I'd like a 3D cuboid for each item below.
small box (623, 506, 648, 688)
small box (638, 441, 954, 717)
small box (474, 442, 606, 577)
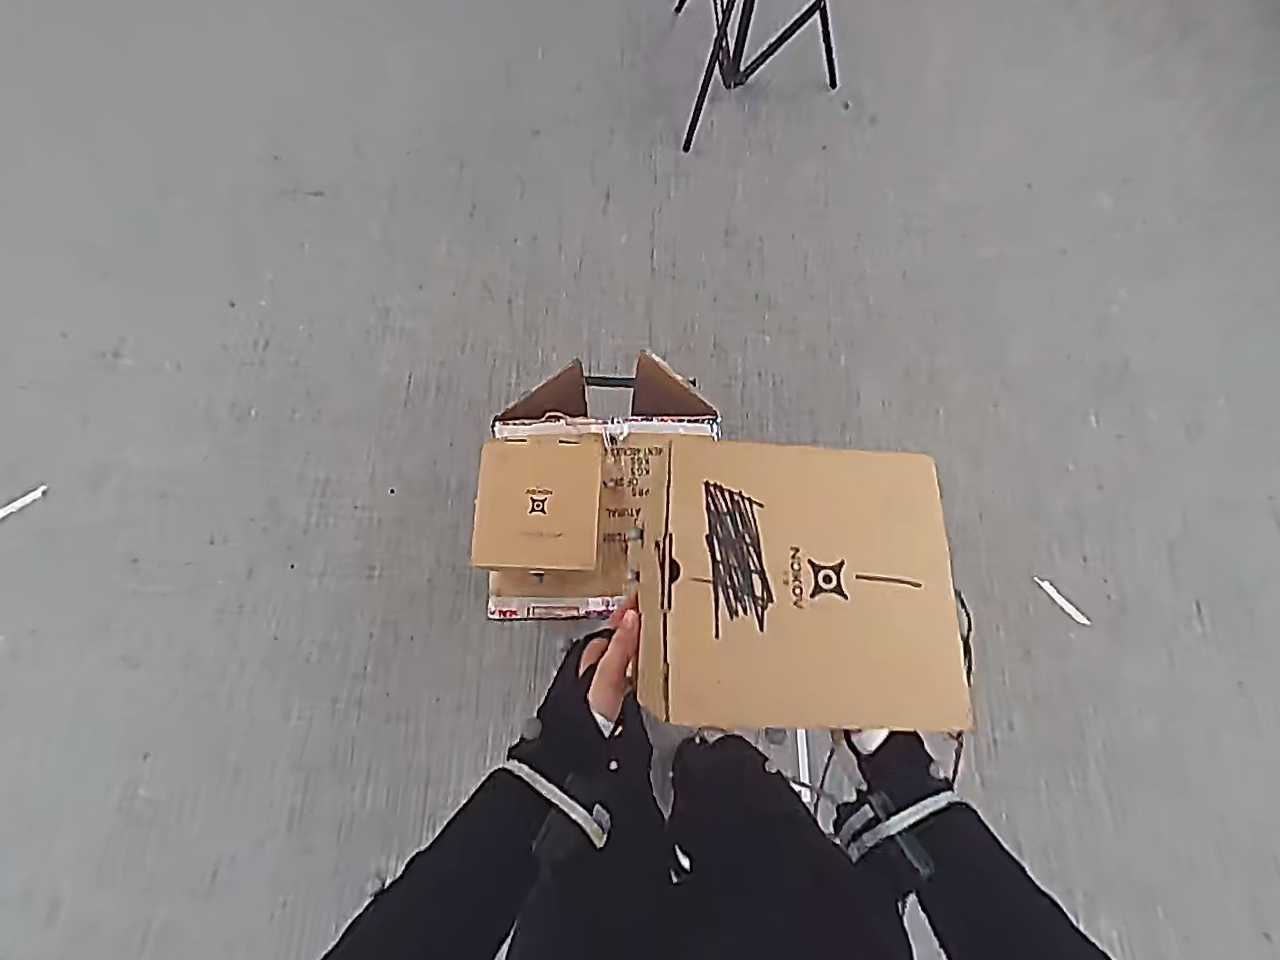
[{"bbox_3d":[0.078,0.126,0.566,0.179,0.176,0.168,2,72,-6],"label":"small box"},{"bbox_3d":[0.092,0.081,0.408,0.179,0.176,0.168,3,72,-6],"label":"small box"},{"bbox_3d":[-0.137,0.052,0.808,0.168,0.176,0.179,2,79,-1],"label":"small box"}]
